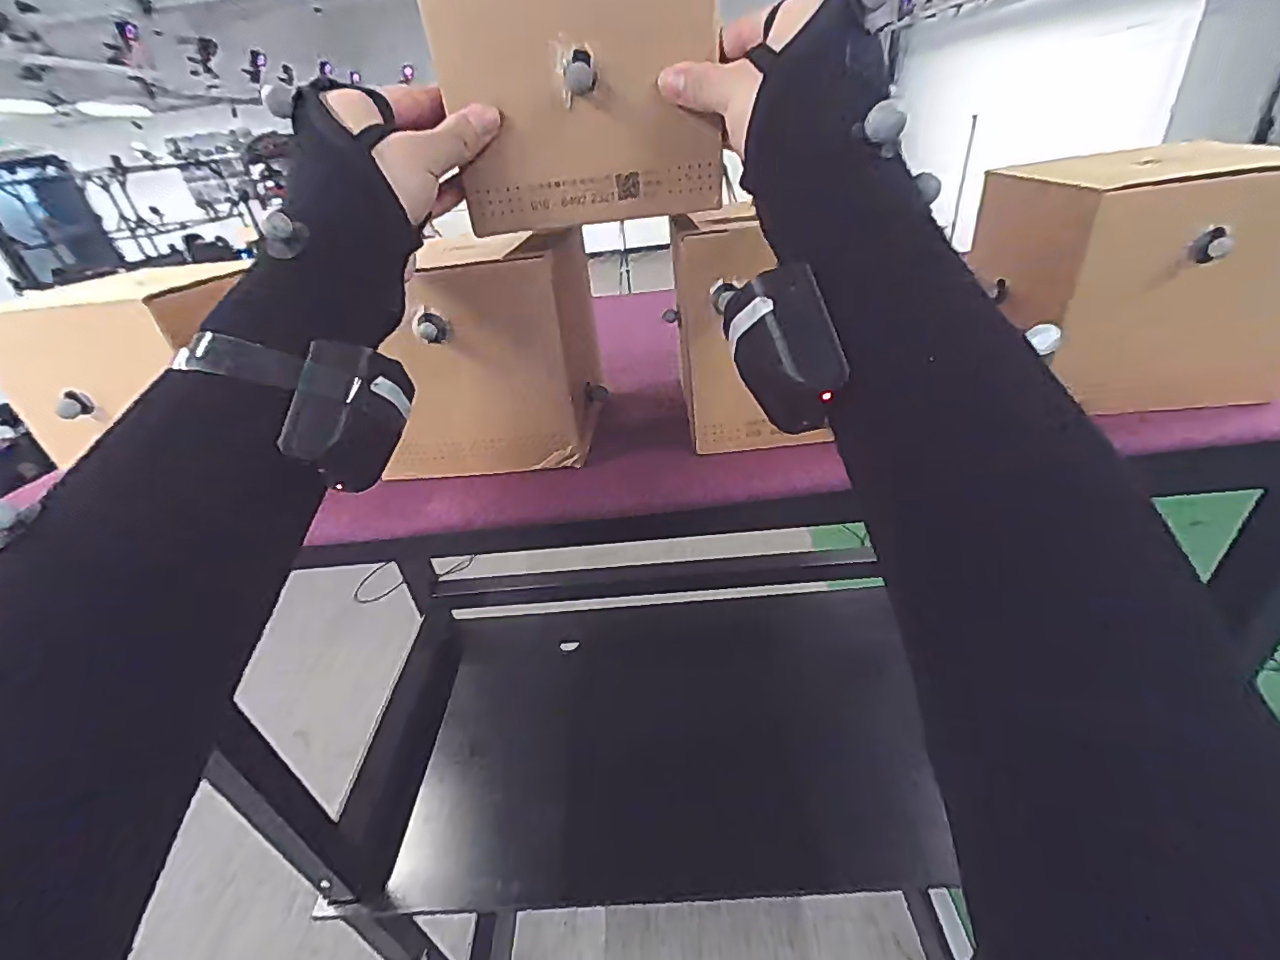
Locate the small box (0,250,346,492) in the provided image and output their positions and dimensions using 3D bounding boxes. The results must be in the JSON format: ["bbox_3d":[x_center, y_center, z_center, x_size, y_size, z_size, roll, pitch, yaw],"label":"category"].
[{"bbox_3d":[-0.409,-0.098,0.494,0.168,0.176,0.179,-3,31,7],"label":"small box"}]

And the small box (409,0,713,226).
[{"bbox_3d":[-0.043,-0.282,0.377,0.168,0.176,0.179,-6,32,2],"label":"small box"}]
